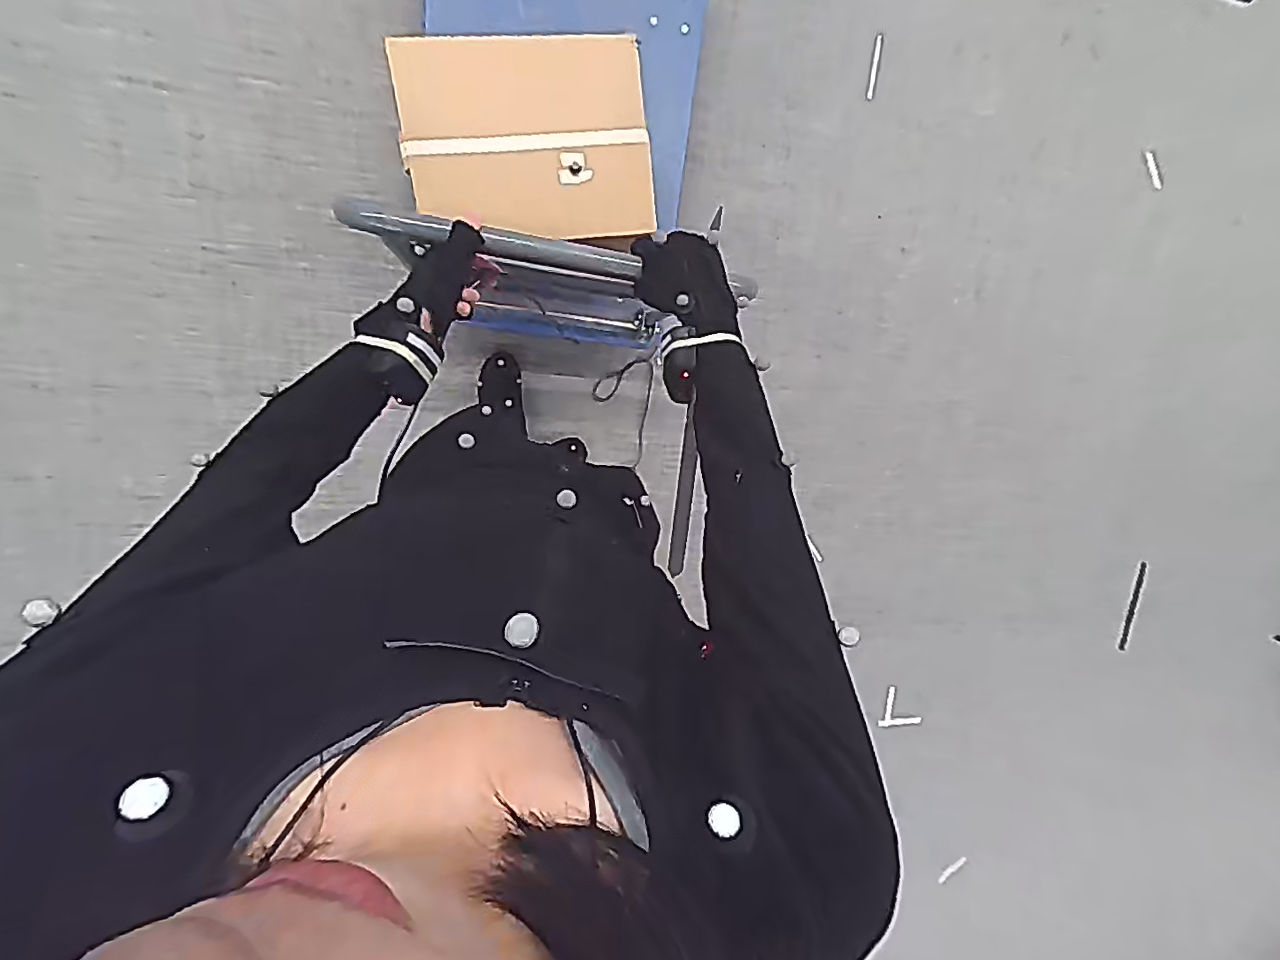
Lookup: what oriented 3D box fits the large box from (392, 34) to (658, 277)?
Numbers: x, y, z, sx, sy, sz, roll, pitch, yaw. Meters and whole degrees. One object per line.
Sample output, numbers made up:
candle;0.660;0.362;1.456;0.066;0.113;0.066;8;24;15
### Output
large box;-0.210;-0.598;1.051;0.408;0.320;0.320;-9;104;-11
